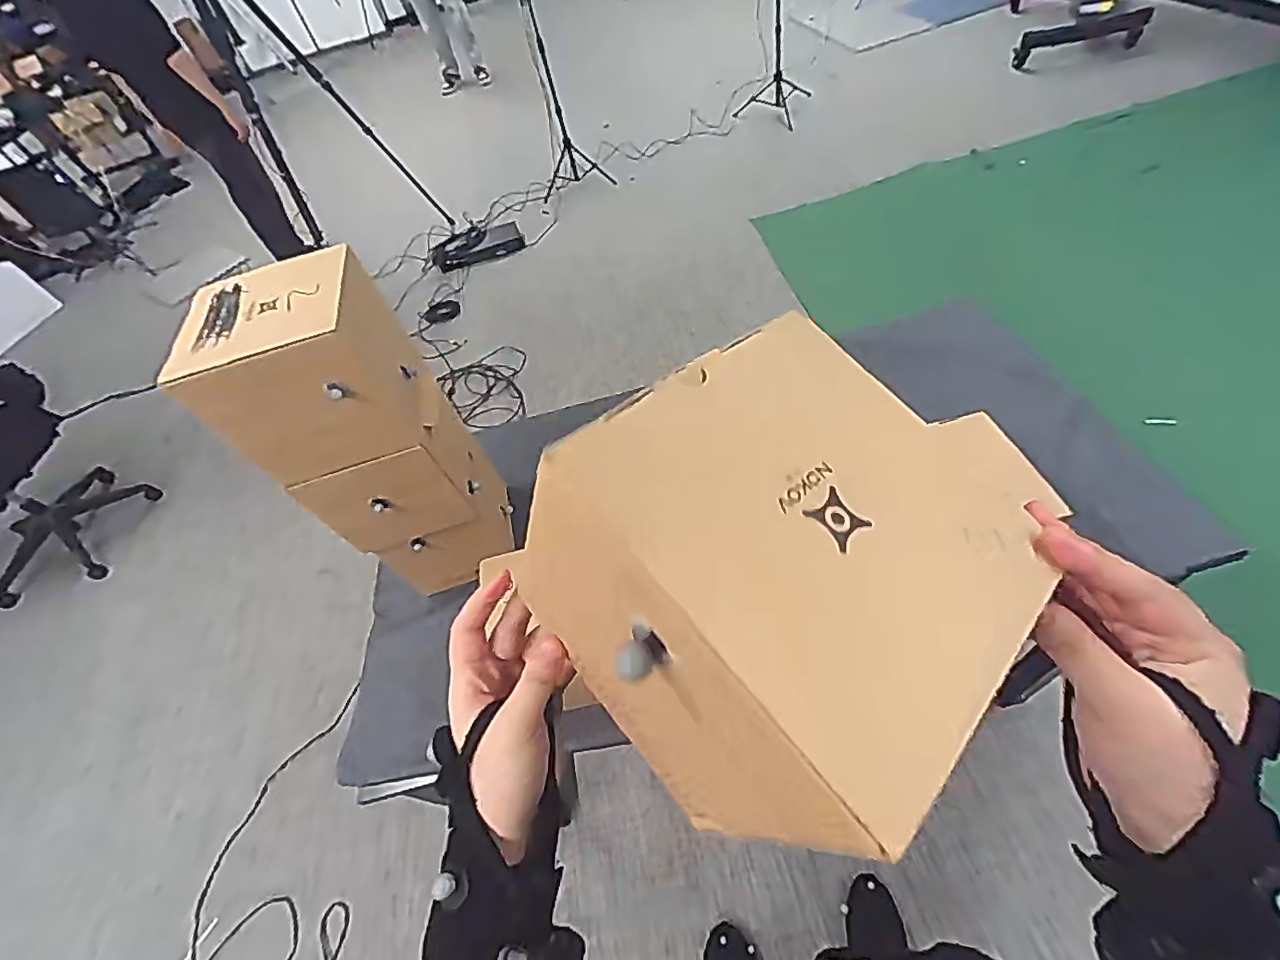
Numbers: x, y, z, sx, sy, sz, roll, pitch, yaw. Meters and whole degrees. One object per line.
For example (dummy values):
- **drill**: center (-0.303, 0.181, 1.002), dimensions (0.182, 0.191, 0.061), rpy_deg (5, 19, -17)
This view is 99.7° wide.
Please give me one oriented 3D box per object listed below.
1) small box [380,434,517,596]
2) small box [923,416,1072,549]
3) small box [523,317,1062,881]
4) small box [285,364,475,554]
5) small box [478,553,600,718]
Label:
- **small box**: center (-0.313, 0.060, 0.886), dimensions (0.168, 0.176, 0.179), rpy_deg (-19, 52, -1)
- **small box**: center (0.400, 0.049, 0.714), dimensions (0.168, 0.176, 0.179), rpy_deg (-16, 50, 3)
- **small box**: center (0.055, 0.057, 0.288), dimensions (0.168, 0.176, 0.179), rpy_deg (-37, 76, -29)
- **small box**: center (-0.340, -0.024, 0.746), dimensions (0.179, 0.176, 0.168), rpy_deg (-19, 53, 0)
- **small box**: center (-0.098, 0.201, 0.723), dimensions (0.179, 0.176, 0.168), rpy_deg (-14, 51, 4)
